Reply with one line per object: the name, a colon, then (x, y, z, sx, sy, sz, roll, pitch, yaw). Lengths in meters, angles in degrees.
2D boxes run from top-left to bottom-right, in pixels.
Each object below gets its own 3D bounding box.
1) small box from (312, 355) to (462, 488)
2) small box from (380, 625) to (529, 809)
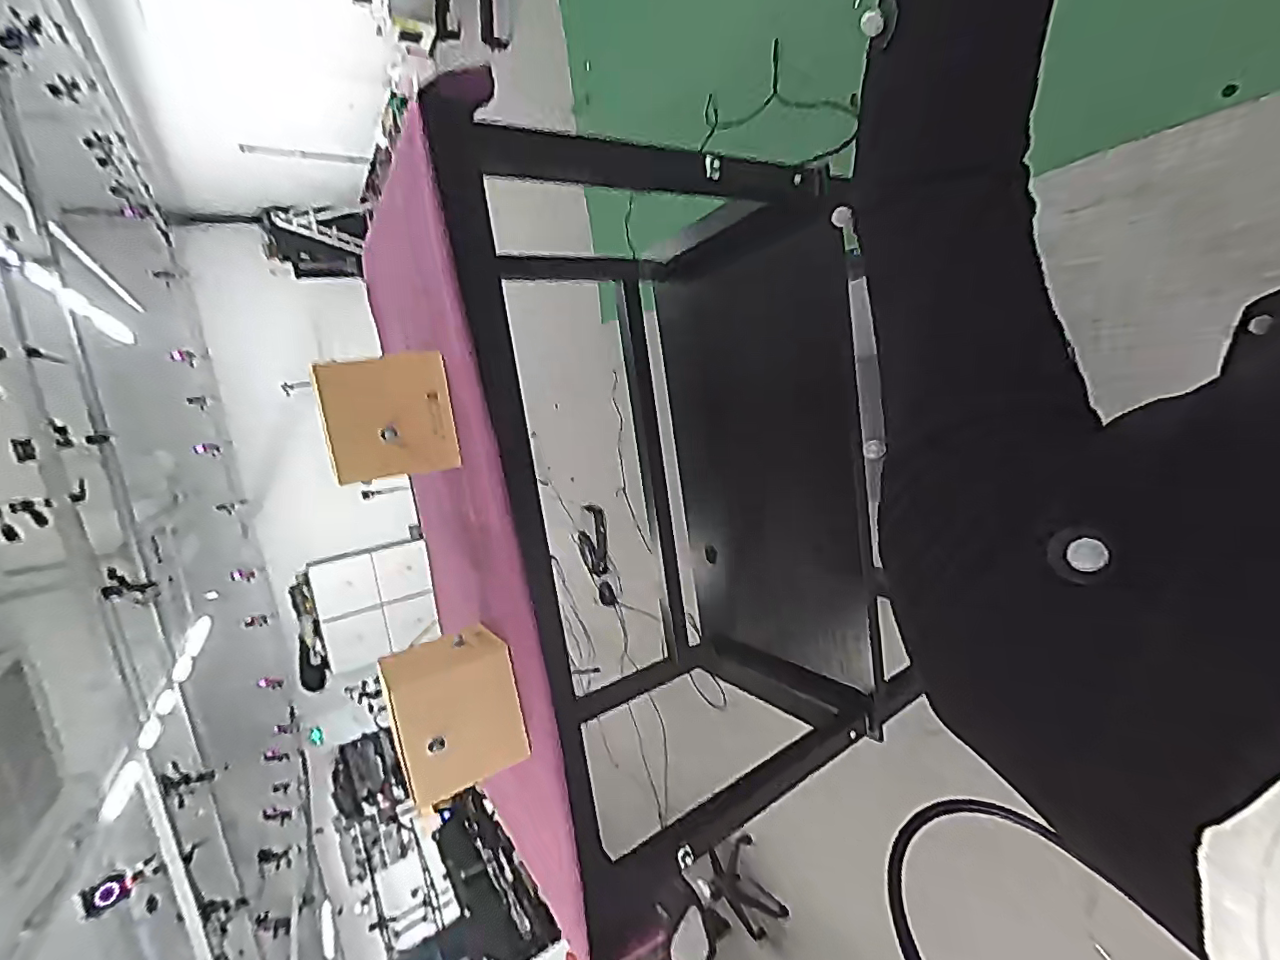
small box: (-0.379, -0.094, 0.820, 0.179, 0.176, 0.168, 11, 111, 58)
small box: (-0.283, 0.345, 0.827, 0.168, 0.176, 0.179, -3, 99, 59)
